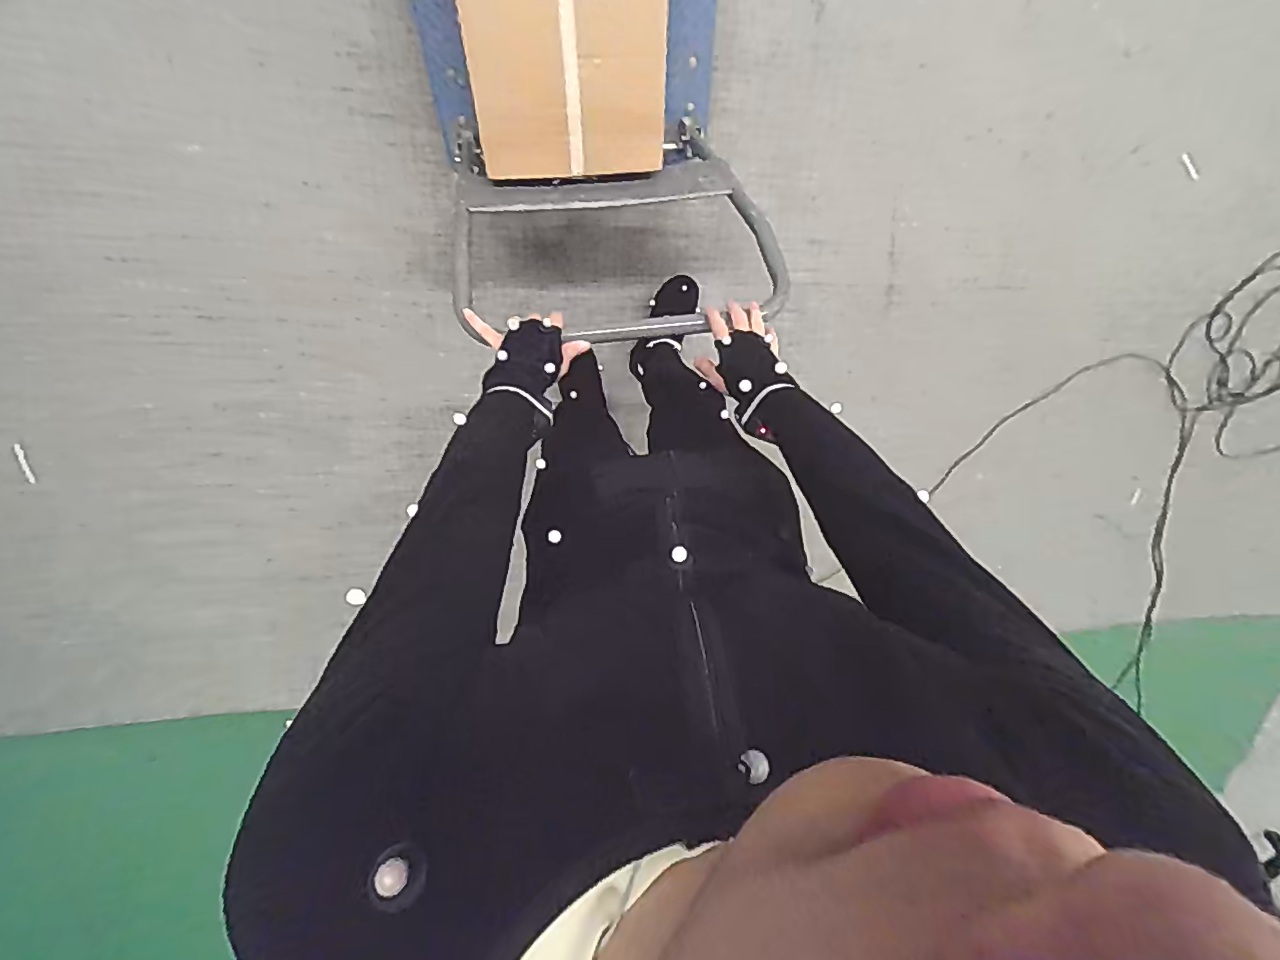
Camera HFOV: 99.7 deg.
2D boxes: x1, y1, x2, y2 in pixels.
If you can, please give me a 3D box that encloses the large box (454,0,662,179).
[{"bbox_3d":[-0.142,-0.789,0.930,0.320,0.320,0.408,-8,135,-7],"label":"large box"}]
